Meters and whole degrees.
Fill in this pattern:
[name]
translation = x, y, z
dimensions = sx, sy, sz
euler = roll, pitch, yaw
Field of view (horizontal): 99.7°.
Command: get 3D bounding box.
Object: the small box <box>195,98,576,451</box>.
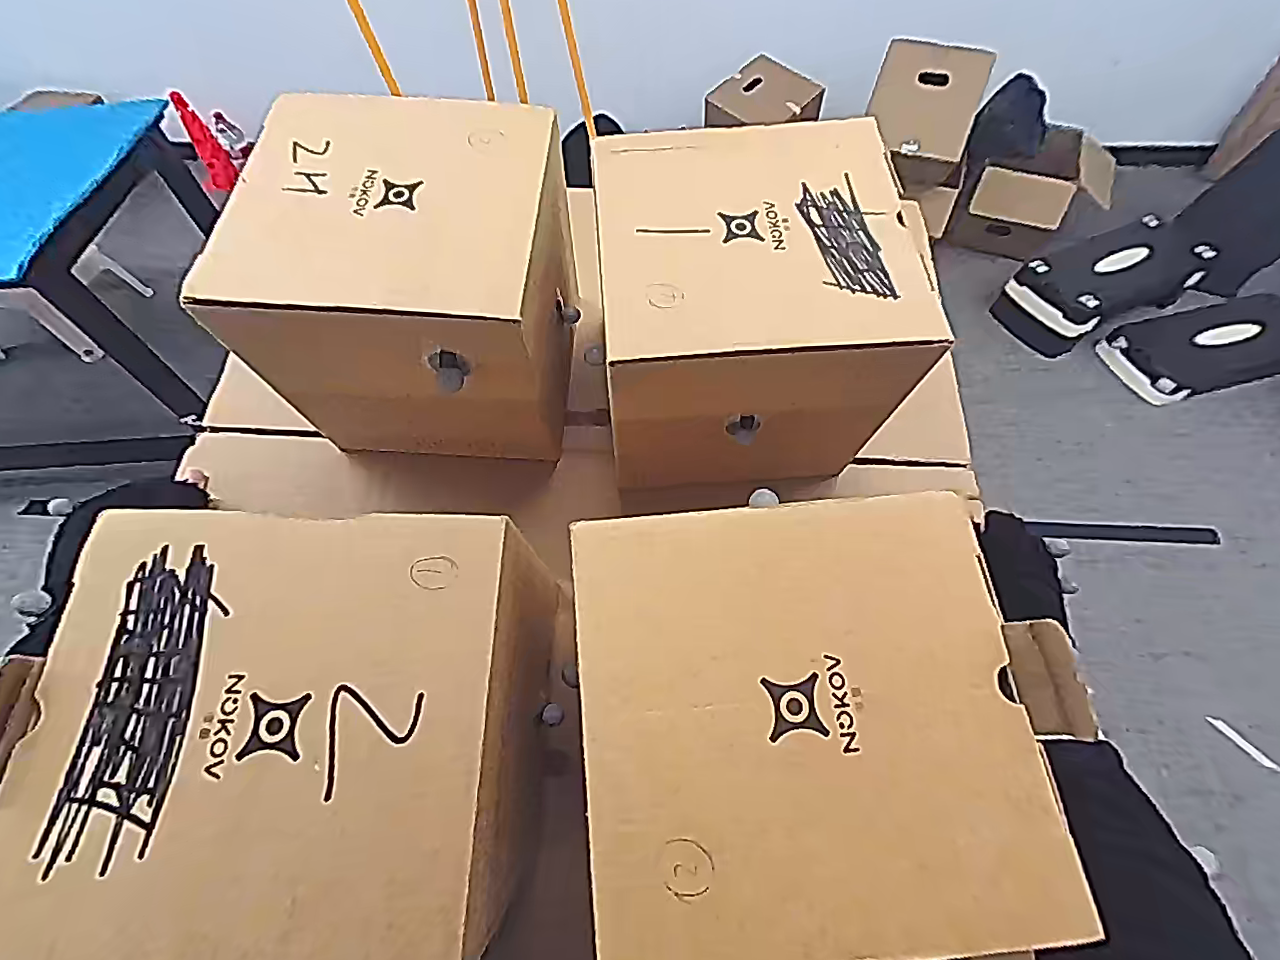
[small box]
translation = -0.145, -0.131, 0.389
dimensions = 0.179, 0.176, 0.168
euler = 4, 66, 1
